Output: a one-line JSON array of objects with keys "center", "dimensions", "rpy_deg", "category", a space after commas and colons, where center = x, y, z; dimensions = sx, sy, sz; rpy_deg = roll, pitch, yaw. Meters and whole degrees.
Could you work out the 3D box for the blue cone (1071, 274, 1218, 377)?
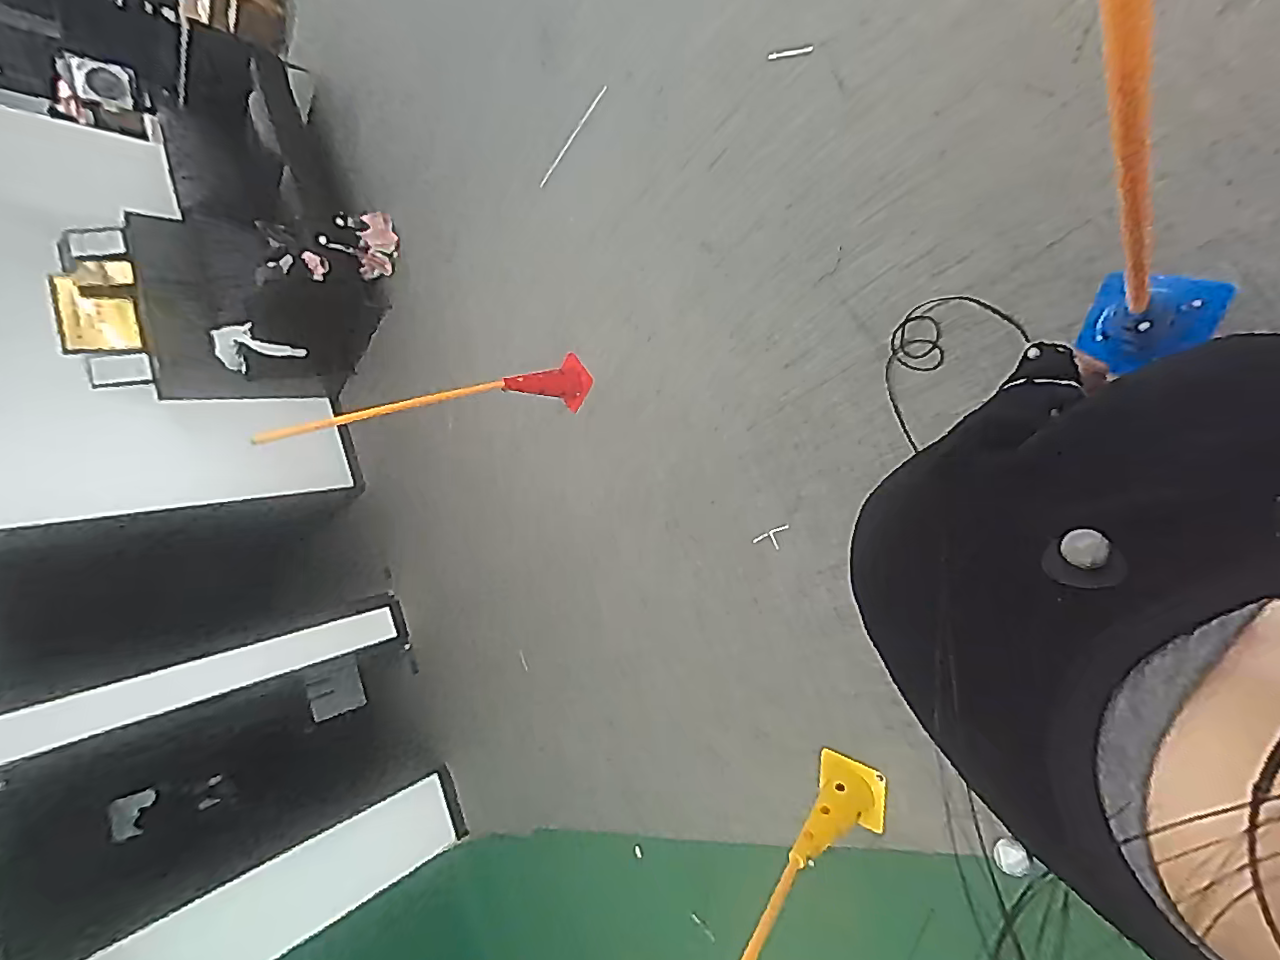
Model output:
[{"center": [0.897, -0.299, 0.974], "dimensions": [0.192, 0.380, 0.193], "rpy_deg": [26, 113, 38], "category": "blue cone"}]
